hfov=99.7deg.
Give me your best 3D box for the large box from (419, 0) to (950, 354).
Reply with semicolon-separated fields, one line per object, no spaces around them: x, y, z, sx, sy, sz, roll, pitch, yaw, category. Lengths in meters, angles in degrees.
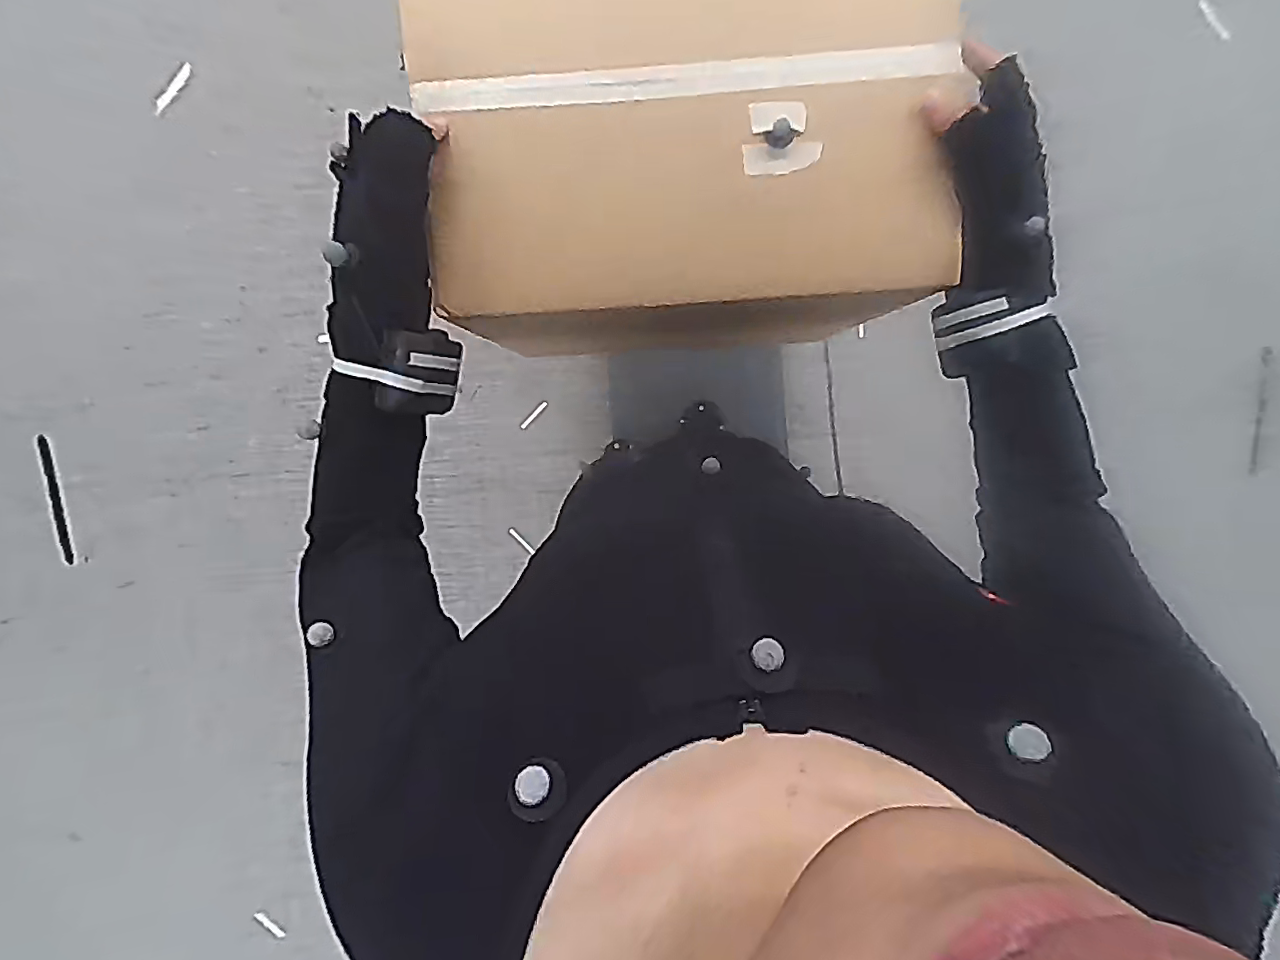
0.035;-0.317;0.560;0.408;0.320;0.320;-3;97;0;large box
